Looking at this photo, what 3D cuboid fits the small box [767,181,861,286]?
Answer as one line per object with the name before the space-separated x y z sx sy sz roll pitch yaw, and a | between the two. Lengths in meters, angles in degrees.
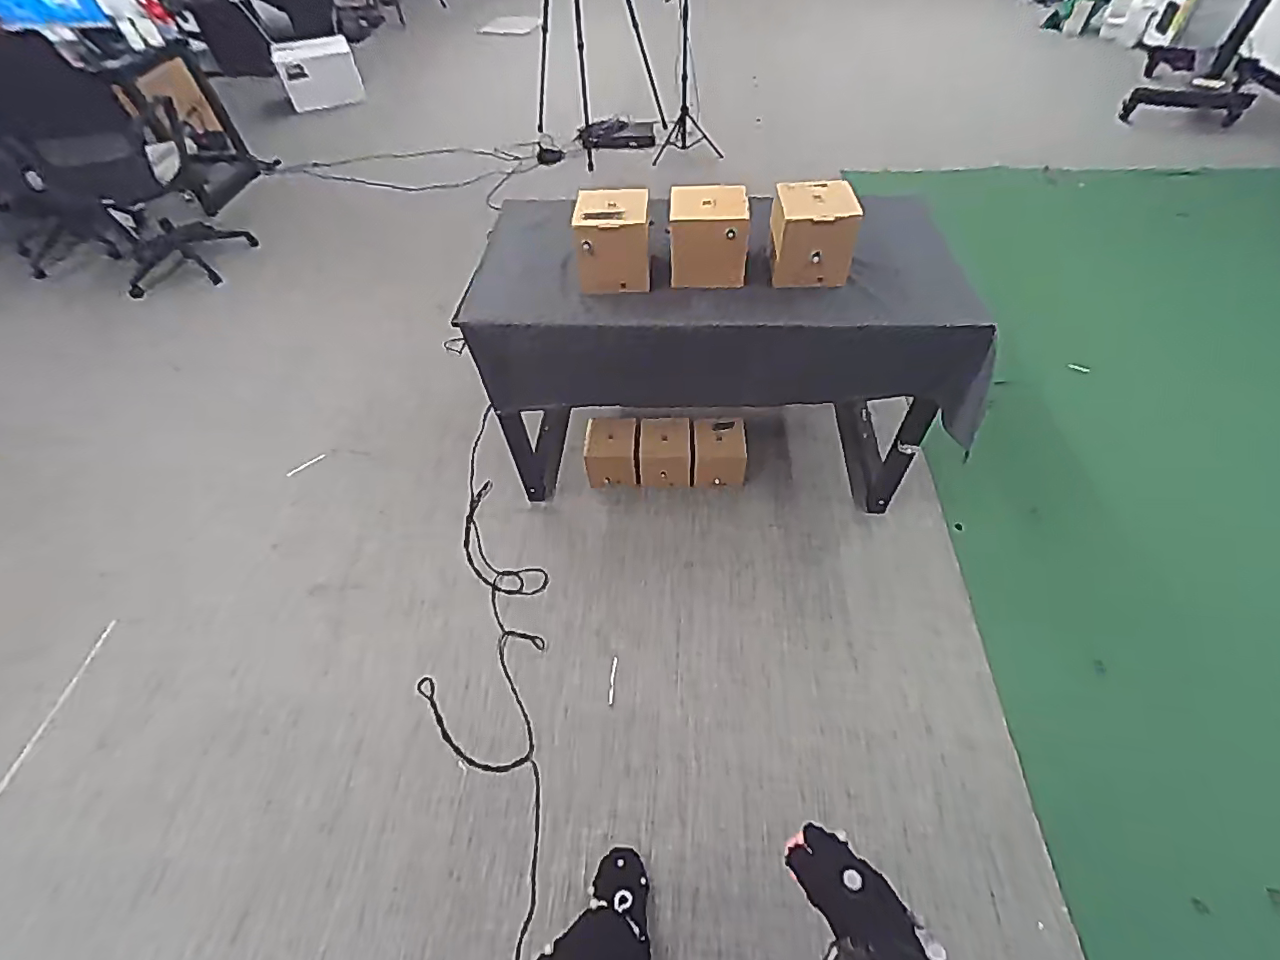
small box | 0.397 -0.570 1.261 0.168 0.176 0.179 0 52 3
